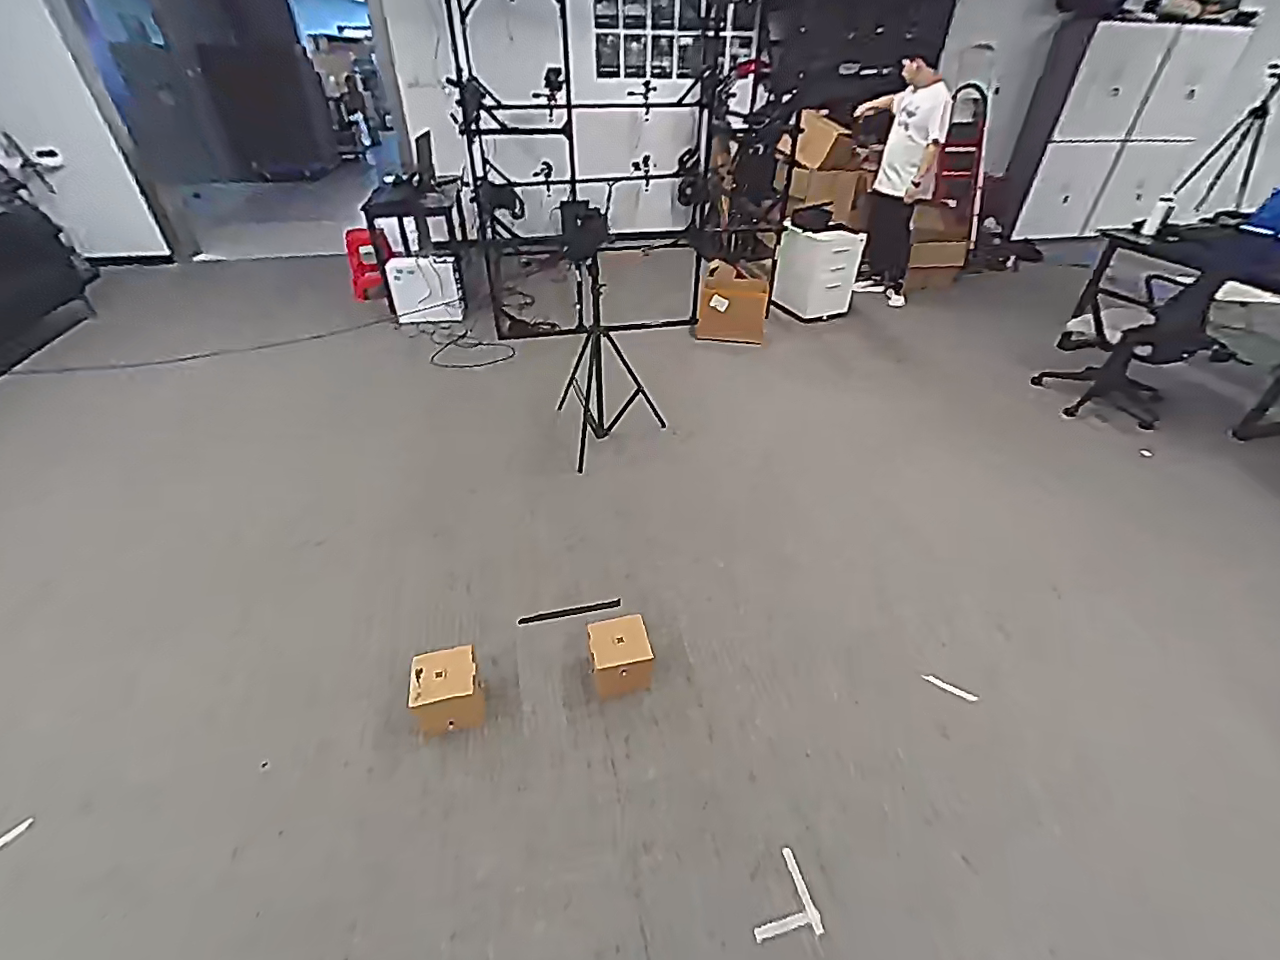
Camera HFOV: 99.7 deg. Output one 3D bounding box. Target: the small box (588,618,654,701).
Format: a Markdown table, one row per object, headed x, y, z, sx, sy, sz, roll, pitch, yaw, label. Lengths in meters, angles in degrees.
| x | y | z | sx | sy | sz | roll | pitch | yaw | label |
| --- | --- | --- | --- | --- | --- | --- | --- | --- | --- |
| -0.061 | 0.562 | 1.686 | 0.179 | 0.176 | 0.168 | -7 | 40 | -12 | small box |

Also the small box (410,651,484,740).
| x | y | z | sx | sy | sz | roll | pitch | yaw | label |
| --- | --- | --- | --- | --- | --- | --- | --- | --- | --- |
| -0.558 | 0.633 | 1.589 | 0.179 | 0.176 | 0.168 | -8 | 39 | -11 | small box |
